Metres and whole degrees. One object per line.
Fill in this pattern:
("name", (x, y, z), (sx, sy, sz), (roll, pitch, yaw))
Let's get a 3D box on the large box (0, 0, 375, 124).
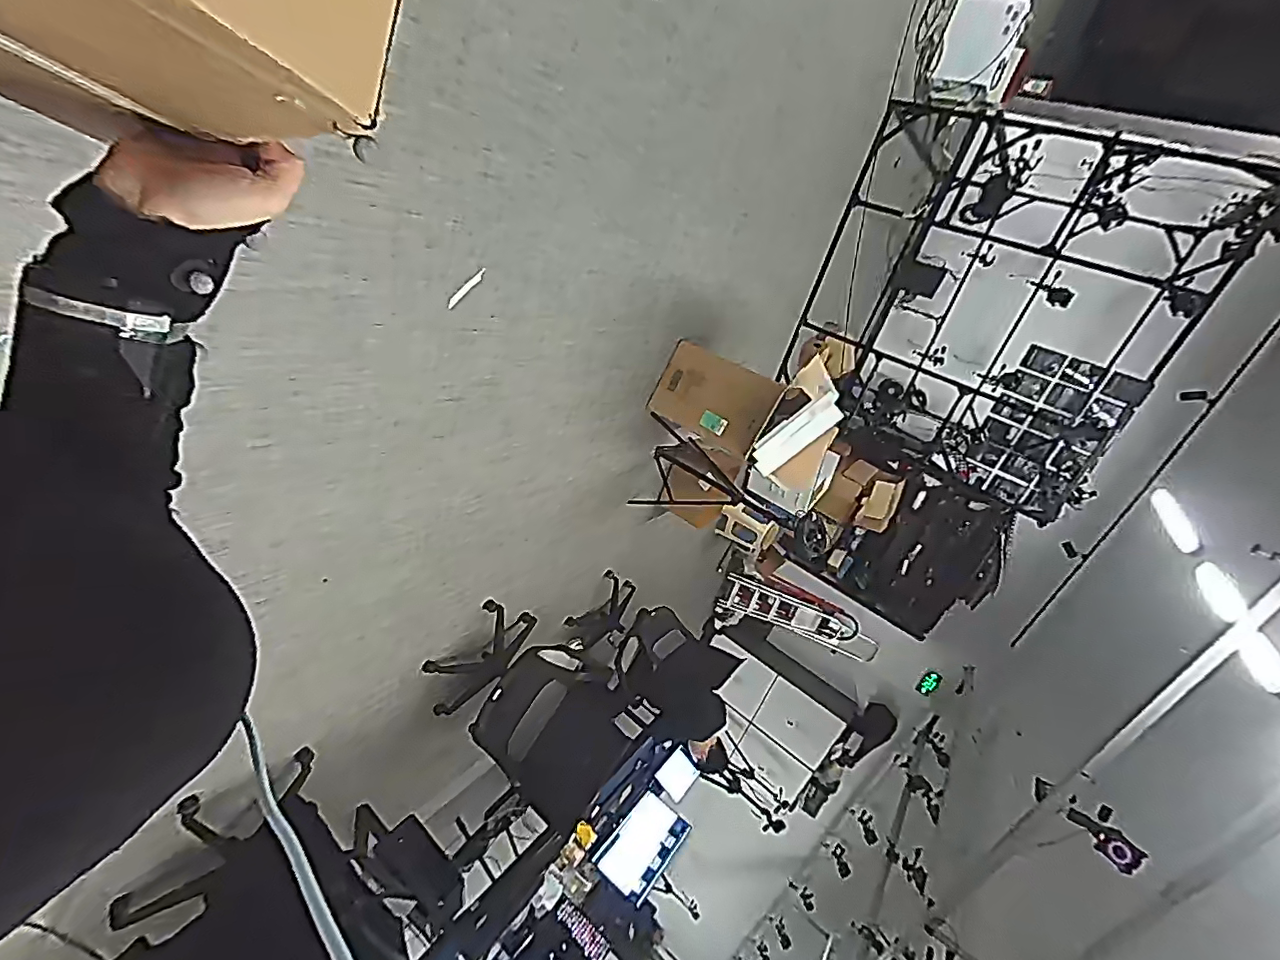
("large box", (-0.313, -0.364, 0.126), (0.408, 0.320, 0.320), (2, 105, -62))
